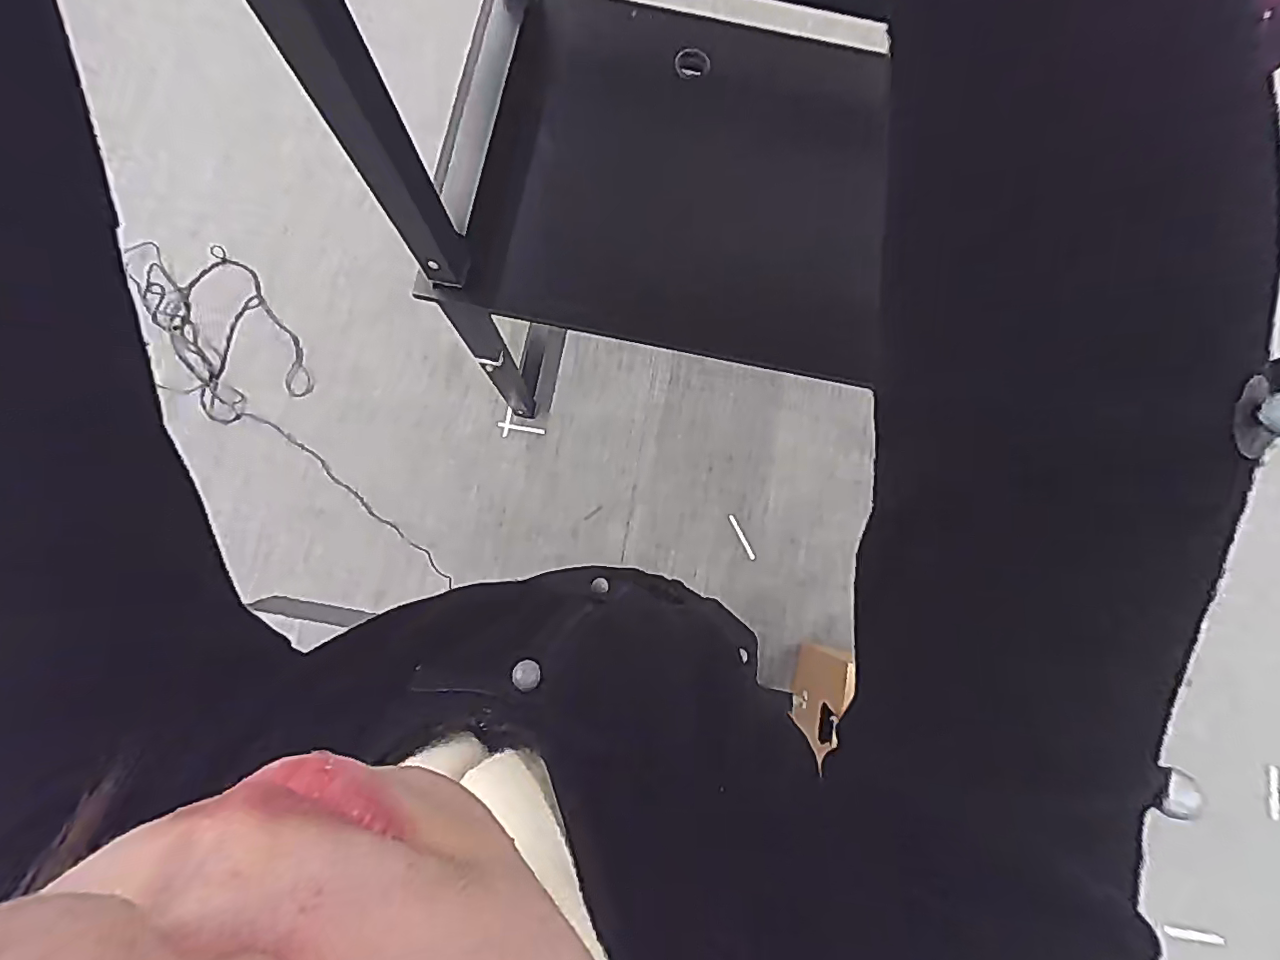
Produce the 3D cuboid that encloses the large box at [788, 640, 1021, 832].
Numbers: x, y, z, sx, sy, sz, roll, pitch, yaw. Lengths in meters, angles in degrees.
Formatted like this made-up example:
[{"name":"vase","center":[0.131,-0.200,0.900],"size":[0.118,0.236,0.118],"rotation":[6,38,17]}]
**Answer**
[{"name":"large box","center":[0.615,0.592,1.315],"size":[0.408,0.320,0.320],"rotation":[11,82,-1]}]
